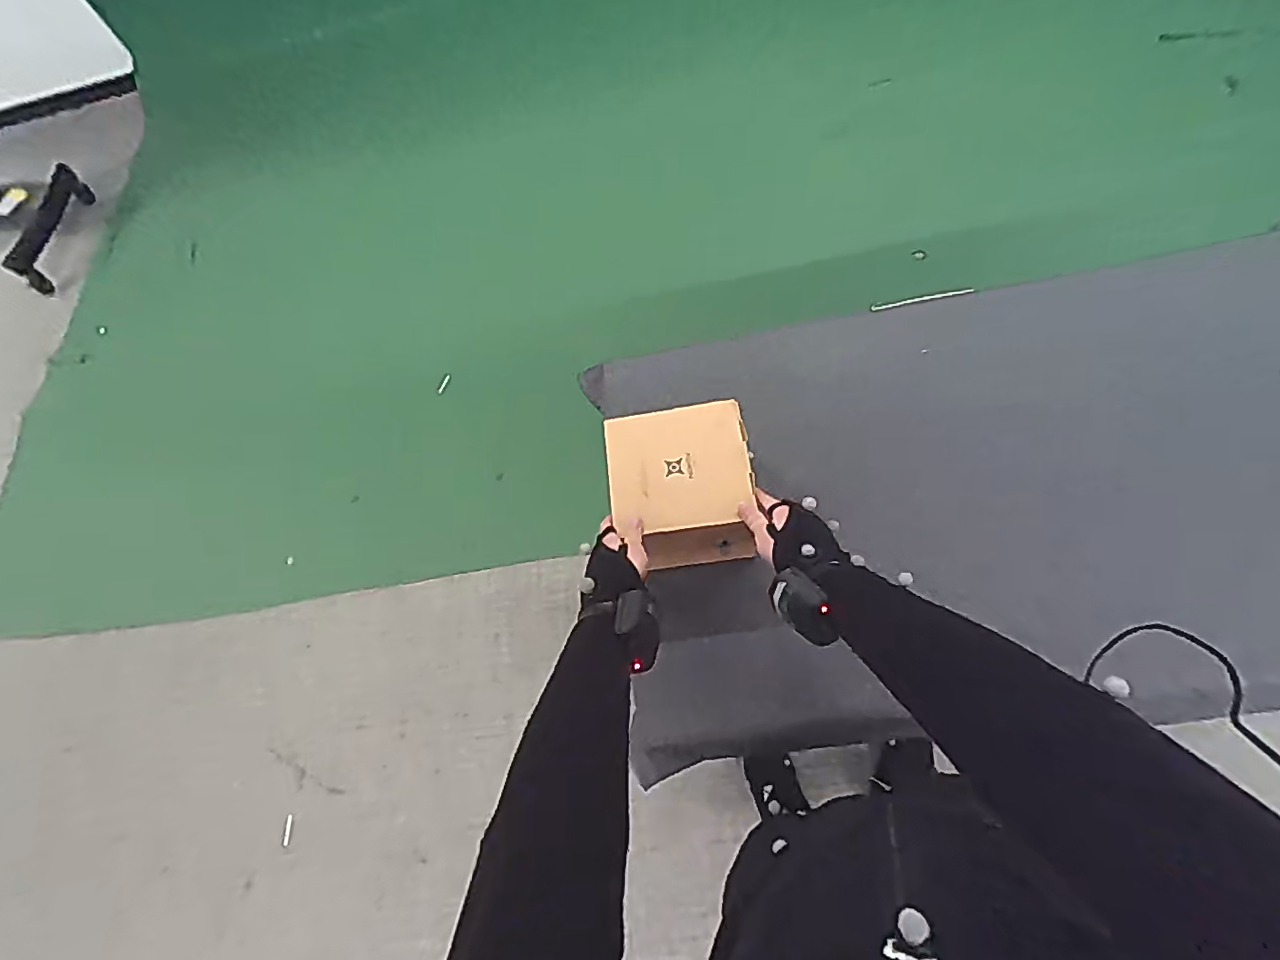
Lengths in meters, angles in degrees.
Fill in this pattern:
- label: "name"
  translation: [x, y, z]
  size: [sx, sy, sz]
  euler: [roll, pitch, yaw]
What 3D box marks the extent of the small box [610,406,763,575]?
- label: "small box"
  translation: [0.062, 0.022, 0.728]
  size: [0.179, 0.176, 0.168]
  euler: [-7, 63, 6]
